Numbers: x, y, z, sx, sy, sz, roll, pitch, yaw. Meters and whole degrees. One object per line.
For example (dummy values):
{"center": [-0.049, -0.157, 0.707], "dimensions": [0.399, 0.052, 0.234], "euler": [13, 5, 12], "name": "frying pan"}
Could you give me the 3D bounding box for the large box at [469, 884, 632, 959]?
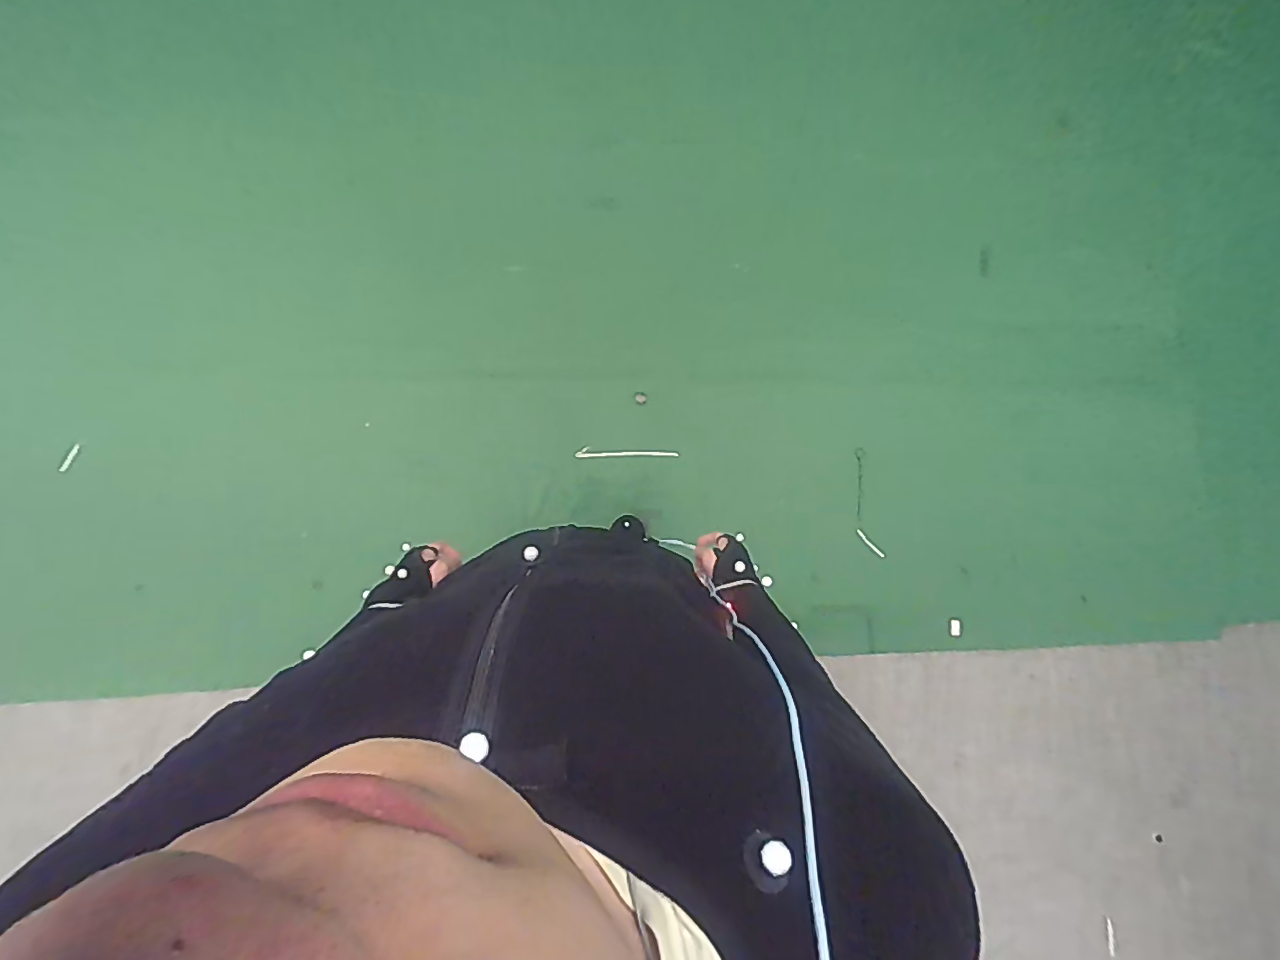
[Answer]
{"center": [-0.219, 1.324, 1.402], "dimensions": [0.408, 0.320, 0.320], "euler": [-3, 86, -5], "name": "large box"}
